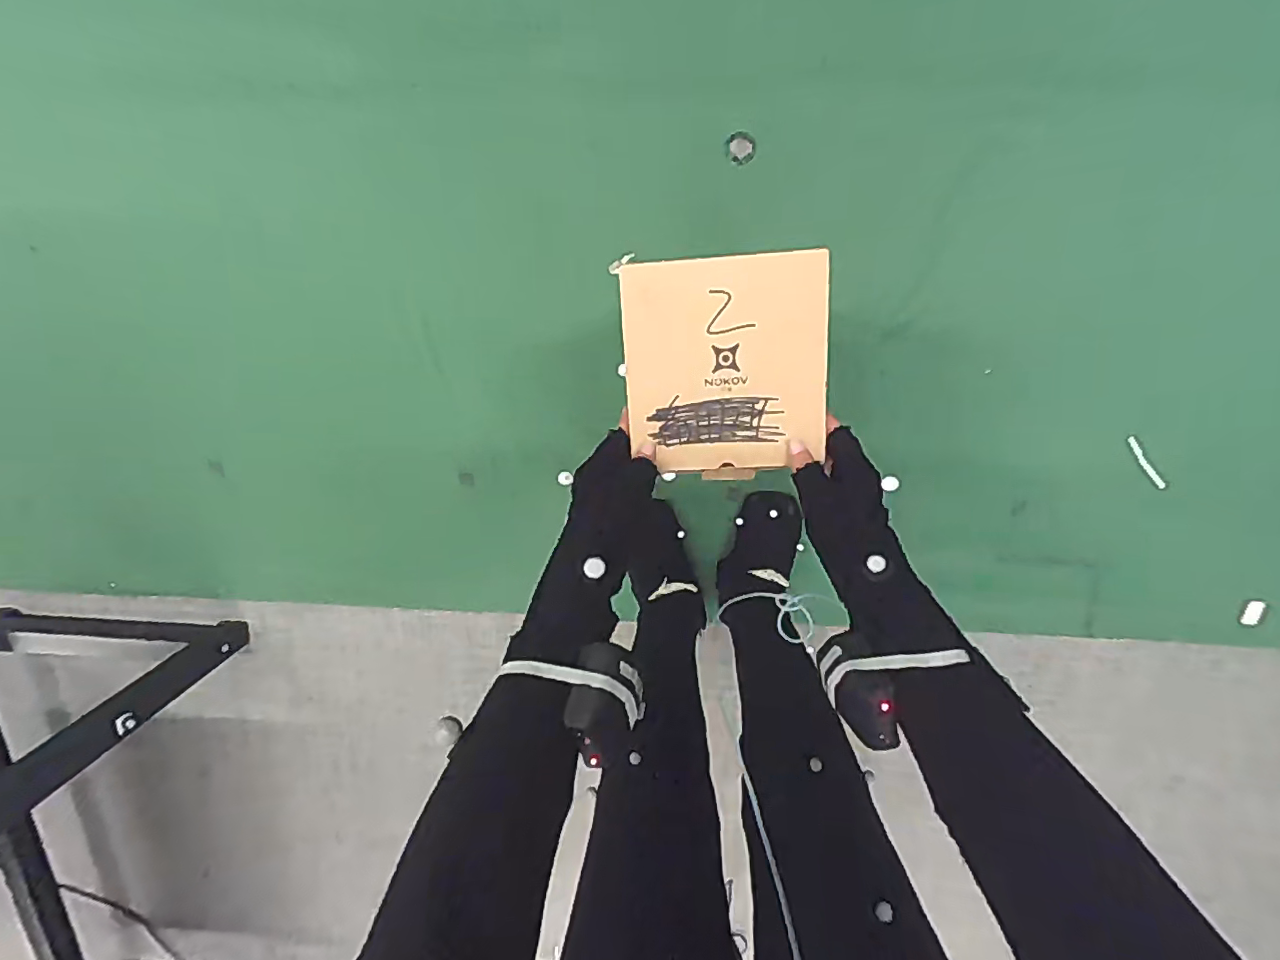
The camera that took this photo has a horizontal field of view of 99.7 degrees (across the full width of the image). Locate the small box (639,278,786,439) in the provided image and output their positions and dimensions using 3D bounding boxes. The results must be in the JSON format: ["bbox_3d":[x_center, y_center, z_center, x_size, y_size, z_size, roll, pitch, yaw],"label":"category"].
[{"bbox_3d":[0.085,-0.155,0.690,0.168,0.176,0.179,-1,107,4],"label":"small box"}]
